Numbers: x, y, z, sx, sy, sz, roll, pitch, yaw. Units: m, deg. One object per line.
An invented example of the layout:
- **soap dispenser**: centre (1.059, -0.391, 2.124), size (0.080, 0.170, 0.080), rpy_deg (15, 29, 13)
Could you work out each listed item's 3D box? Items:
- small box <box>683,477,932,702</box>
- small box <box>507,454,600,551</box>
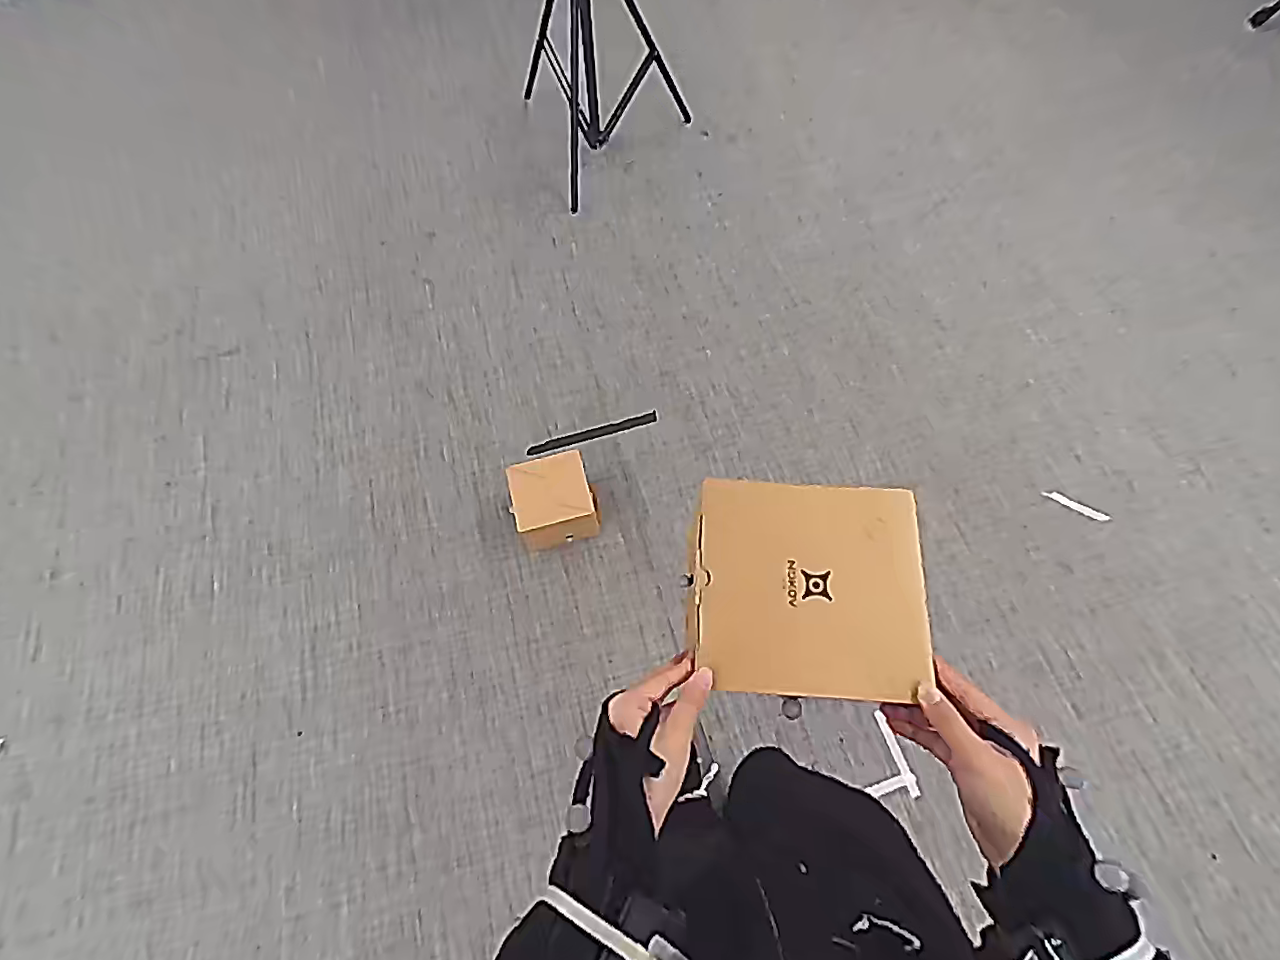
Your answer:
- **small box**: centre (0.134, 0.105, 0.496), size (0.179, 0.176, 0.168), rpy_deg (2, 70, 3)
- **small box**: centre (-0.205, 0.053, 1.300), size (0.179, 0.176, 0.168), rpy_deg (-14, 68, -6)
